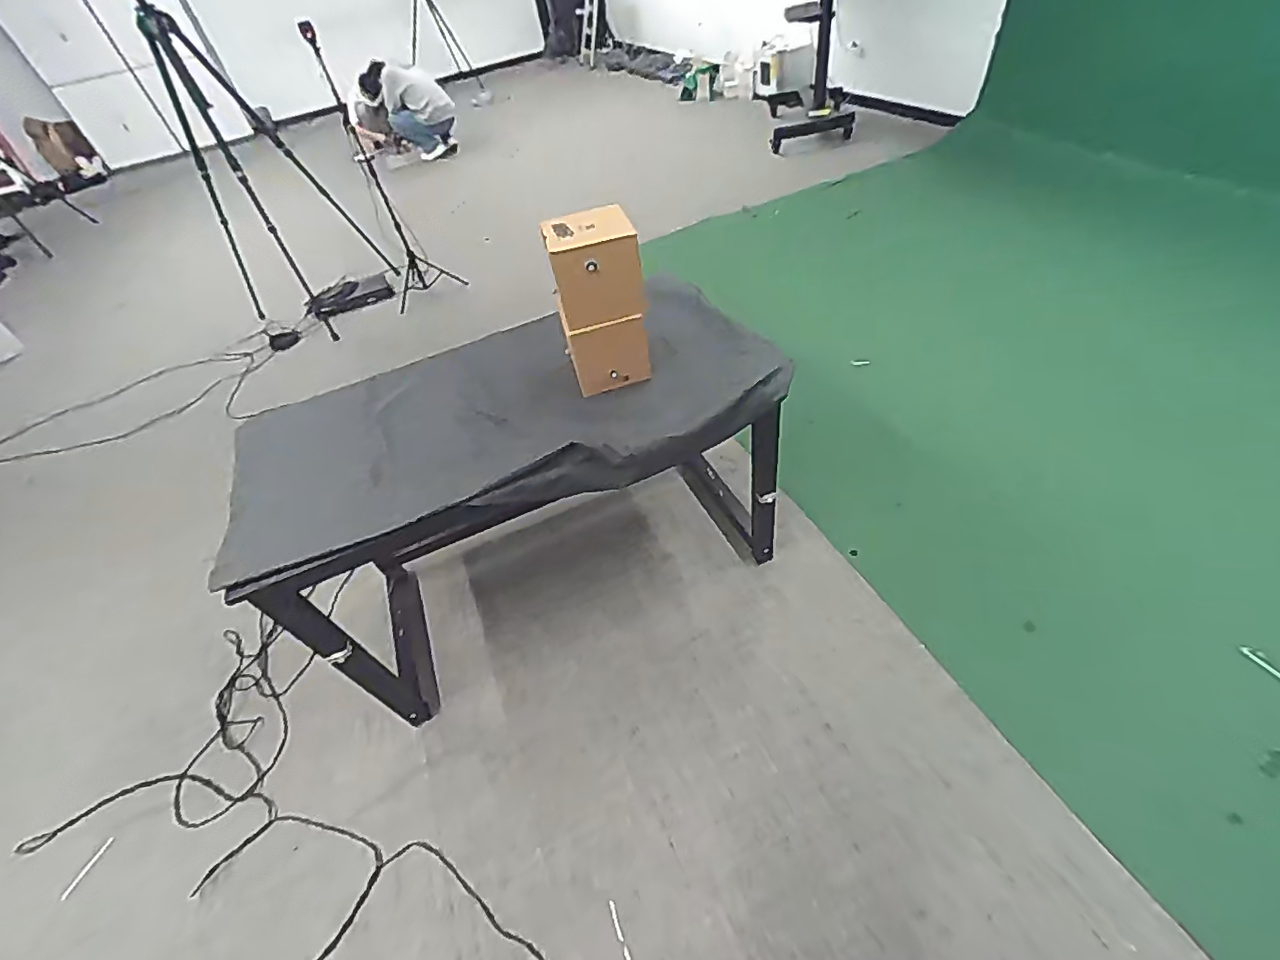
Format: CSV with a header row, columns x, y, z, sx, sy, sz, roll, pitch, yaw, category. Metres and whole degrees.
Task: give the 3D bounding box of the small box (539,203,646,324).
x,y,z,sx,sy,sz,roll,pitch,yaw,category
-0.098,-0.450,1.136,0.179,0.176,0.168,-16,47,-4,small box
